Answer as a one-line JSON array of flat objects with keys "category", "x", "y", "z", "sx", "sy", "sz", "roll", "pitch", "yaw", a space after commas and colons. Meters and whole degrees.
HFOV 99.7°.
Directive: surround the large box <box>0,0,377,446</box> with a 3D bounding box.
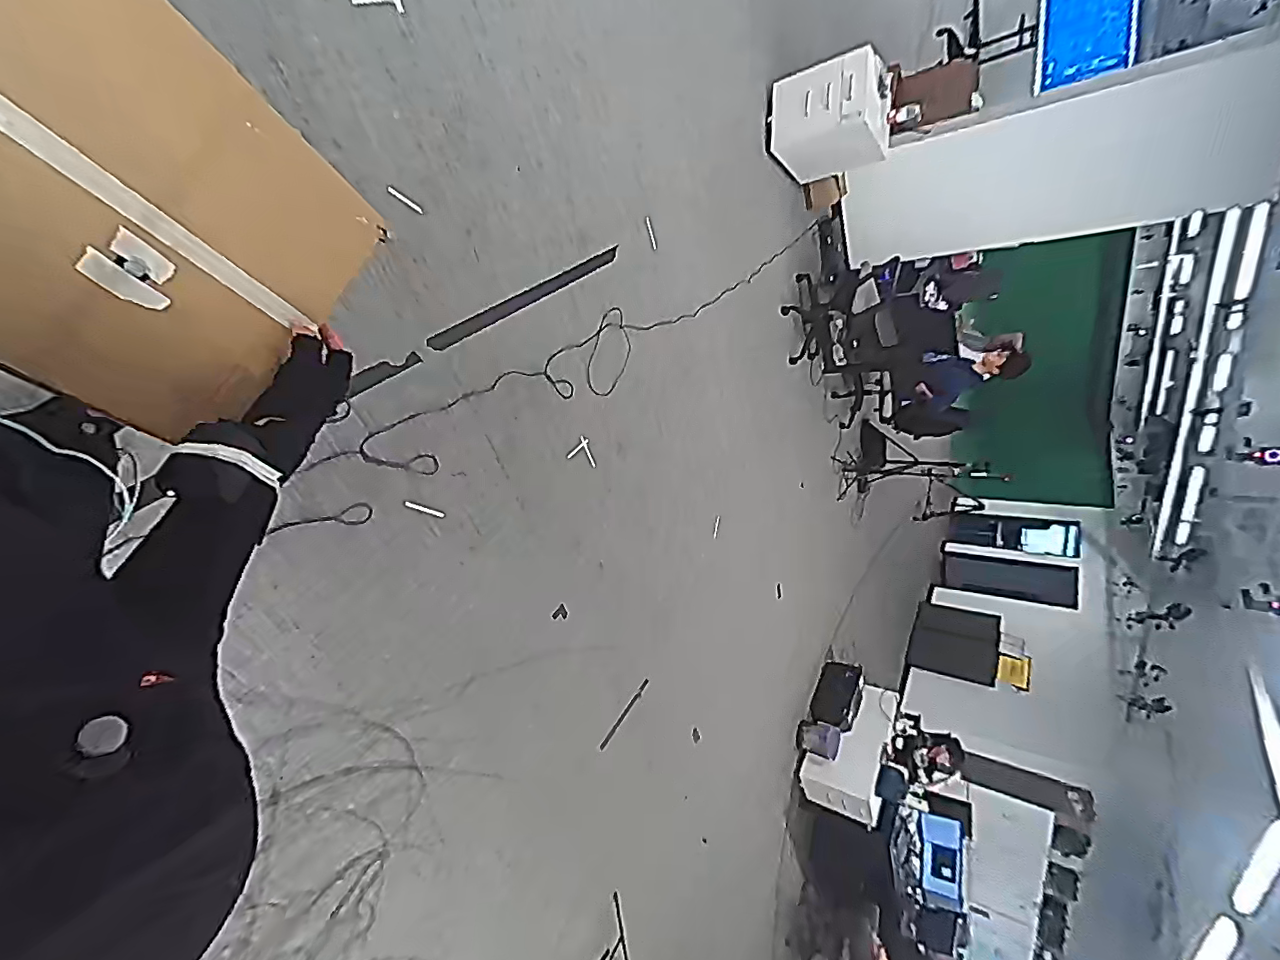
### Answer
[{"category": "large box", "x": -0.566, "y": -0.276, "z": 0.507, "sx": 0.408, "sy": 0.320, "sz": 0.320, "roll": 45, "pitch": 64, "yaw": -50}]
